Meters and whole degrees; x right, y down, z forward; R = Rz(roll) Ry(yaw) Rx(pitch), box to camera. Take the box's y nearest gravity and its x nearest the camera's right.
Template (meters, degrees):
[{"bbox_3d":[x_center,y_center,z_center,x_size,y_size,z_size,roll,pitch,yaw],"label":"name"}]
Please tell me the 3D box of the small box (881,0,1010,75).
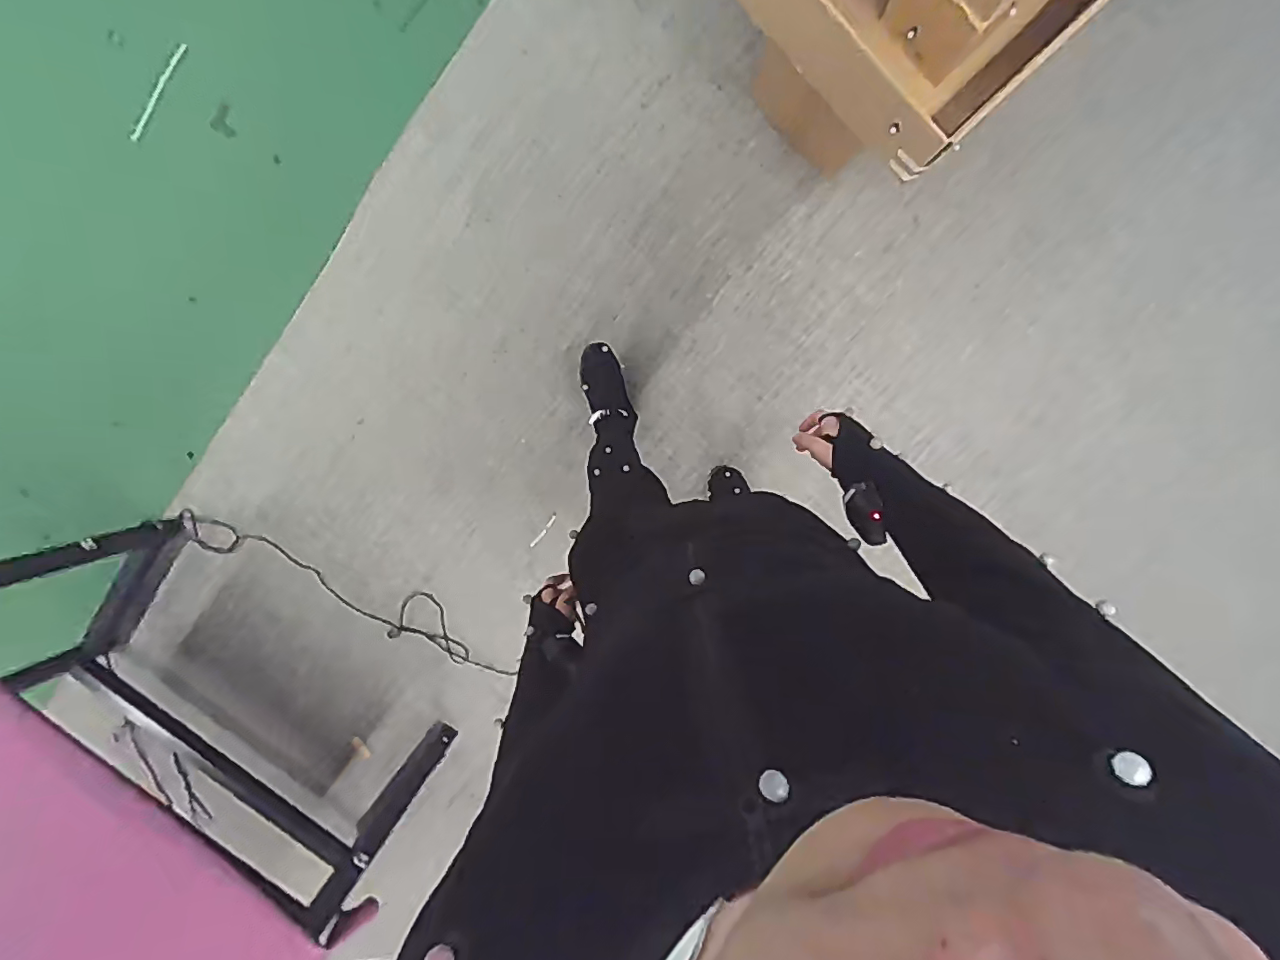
[{"bbox_3d":[0.552,-0.859,0.922,0.179,0.176,0.168,-44,95,11],"label":"small box"}]
